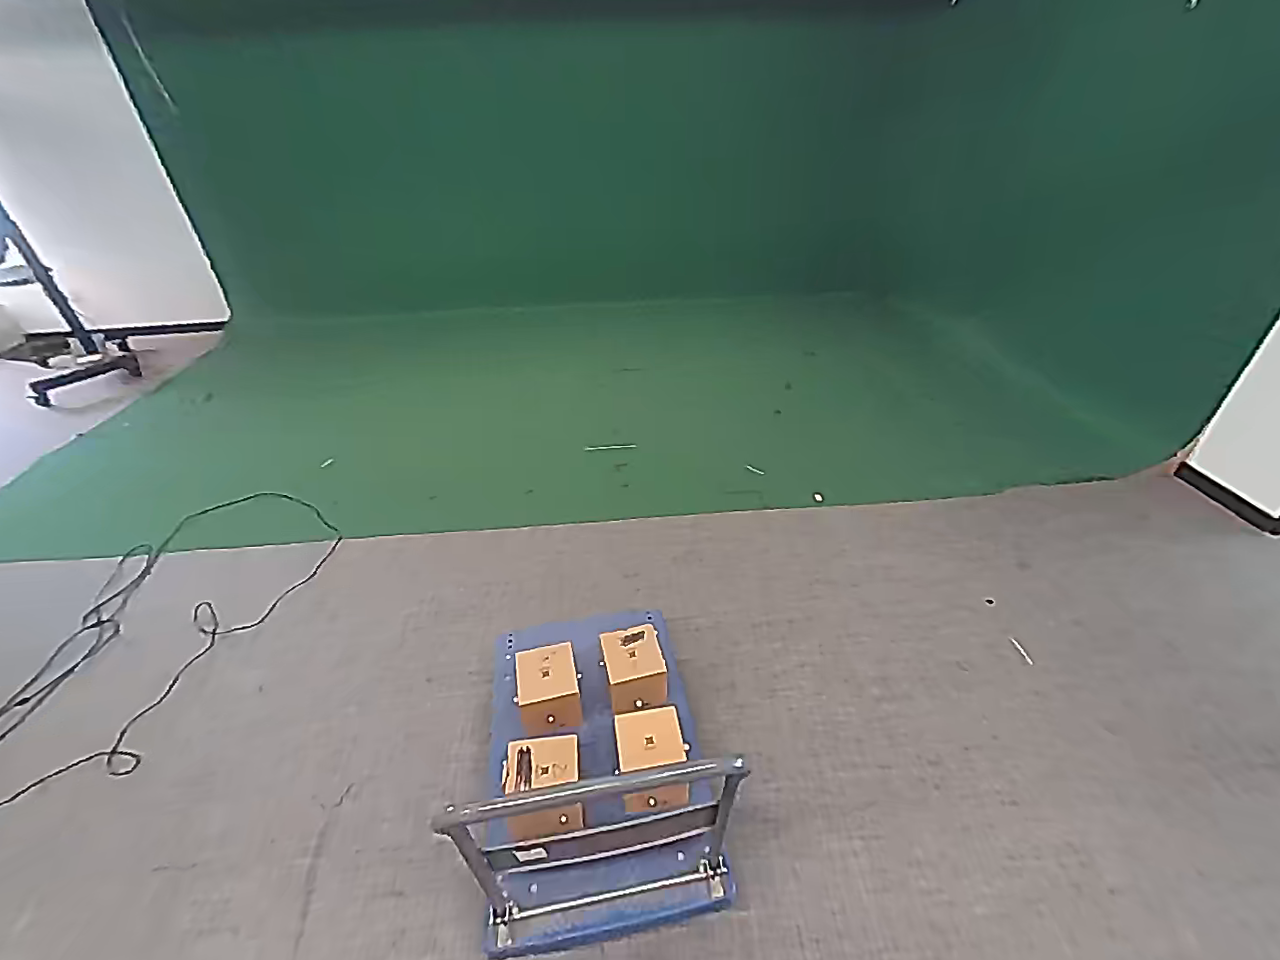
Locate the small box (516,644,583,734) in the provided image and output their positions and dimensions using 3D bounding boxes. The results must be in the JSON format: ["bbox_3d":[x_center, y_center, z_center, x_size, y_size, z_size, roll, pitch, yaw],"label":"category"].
[{"bbox_3d":[-0.262,0.614,1.572,0.168,0.176,0.179,-9,37,-10],"label":"small box"}]

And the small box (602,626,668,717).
[{"bbox_3d":[-0.017,0.572,1.616,0.168,0.176,0.179,-10,38,-9],"label":"small box"}]

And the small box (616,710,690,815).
[{"bbox_3d":[0.029,0.731,1.402,0.168,0.176,0.179,-6,37,-6],"label":"small box"}]
